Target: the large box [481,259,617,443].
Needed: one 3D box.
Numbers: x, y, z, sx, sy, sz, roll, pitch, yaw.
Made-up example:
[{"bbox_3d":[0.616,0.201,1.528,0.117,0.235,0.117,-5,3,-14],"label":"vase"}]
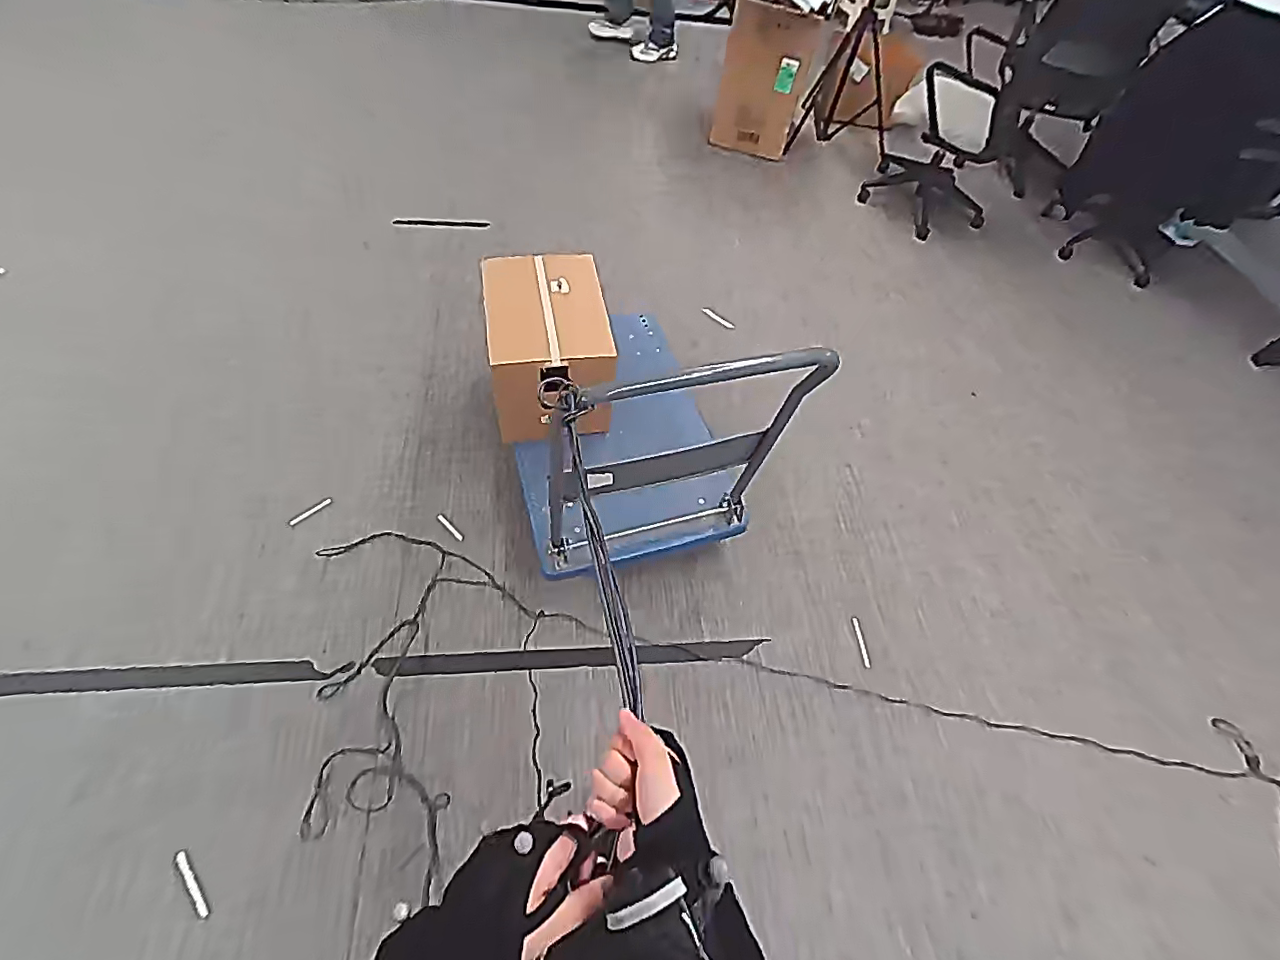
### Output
[{"bbox_3d":[-0.260,-0.363,1.531,0.320,0.320,0.408,-6,58,-12],"label":"large box"}]
